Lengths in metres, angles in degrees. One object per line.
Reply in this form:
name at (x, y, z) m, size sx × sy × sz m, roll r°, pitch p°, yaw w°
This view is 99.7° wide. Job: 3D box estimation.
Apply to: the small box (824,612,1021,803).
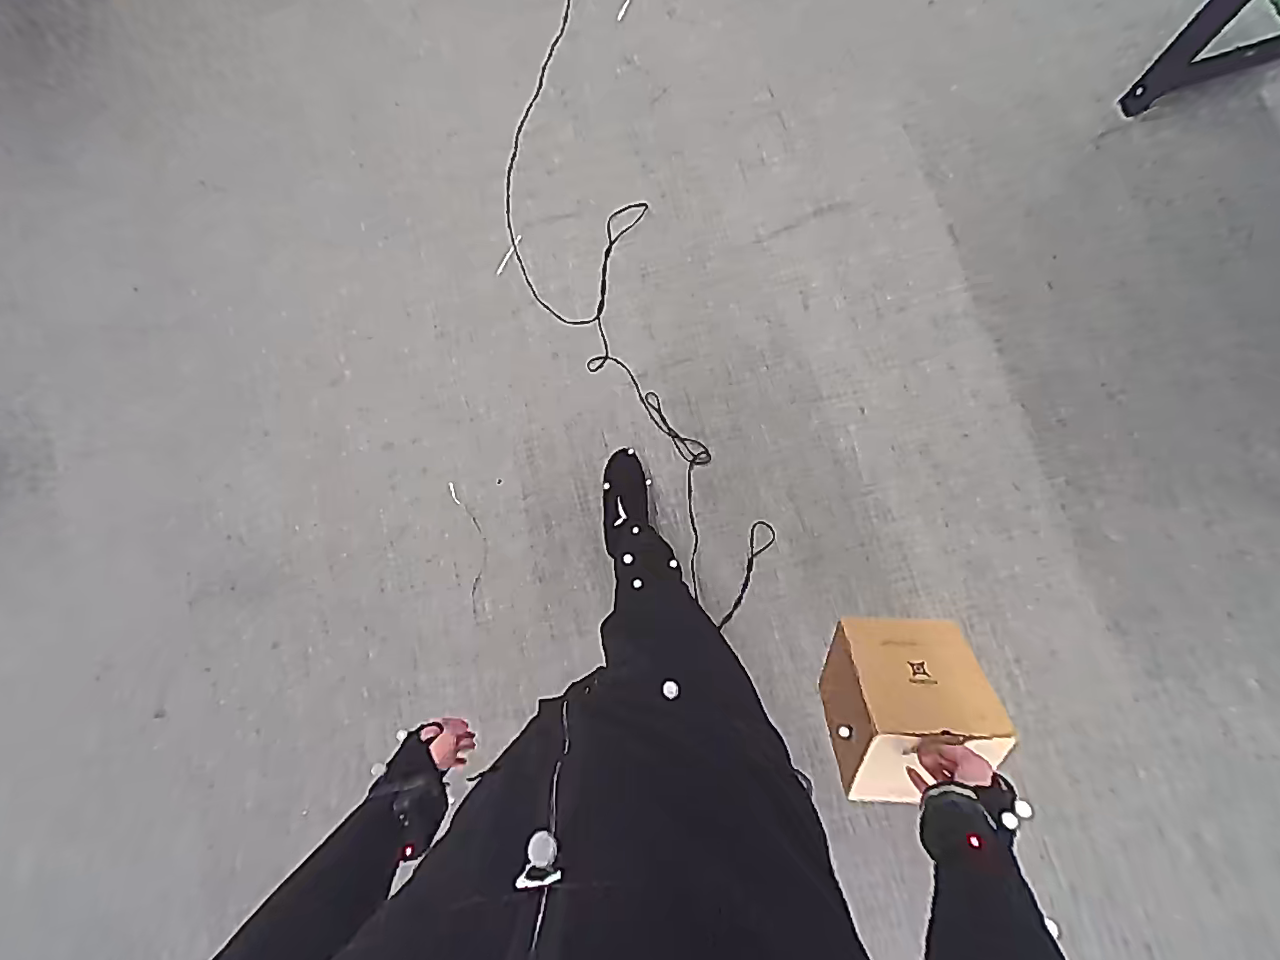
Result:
small box at (0.362, 0.308, 0.735) m, size 0.168 × 0.179 × 0.176 m, roll 4°, pitch 123°, yaw 3°
